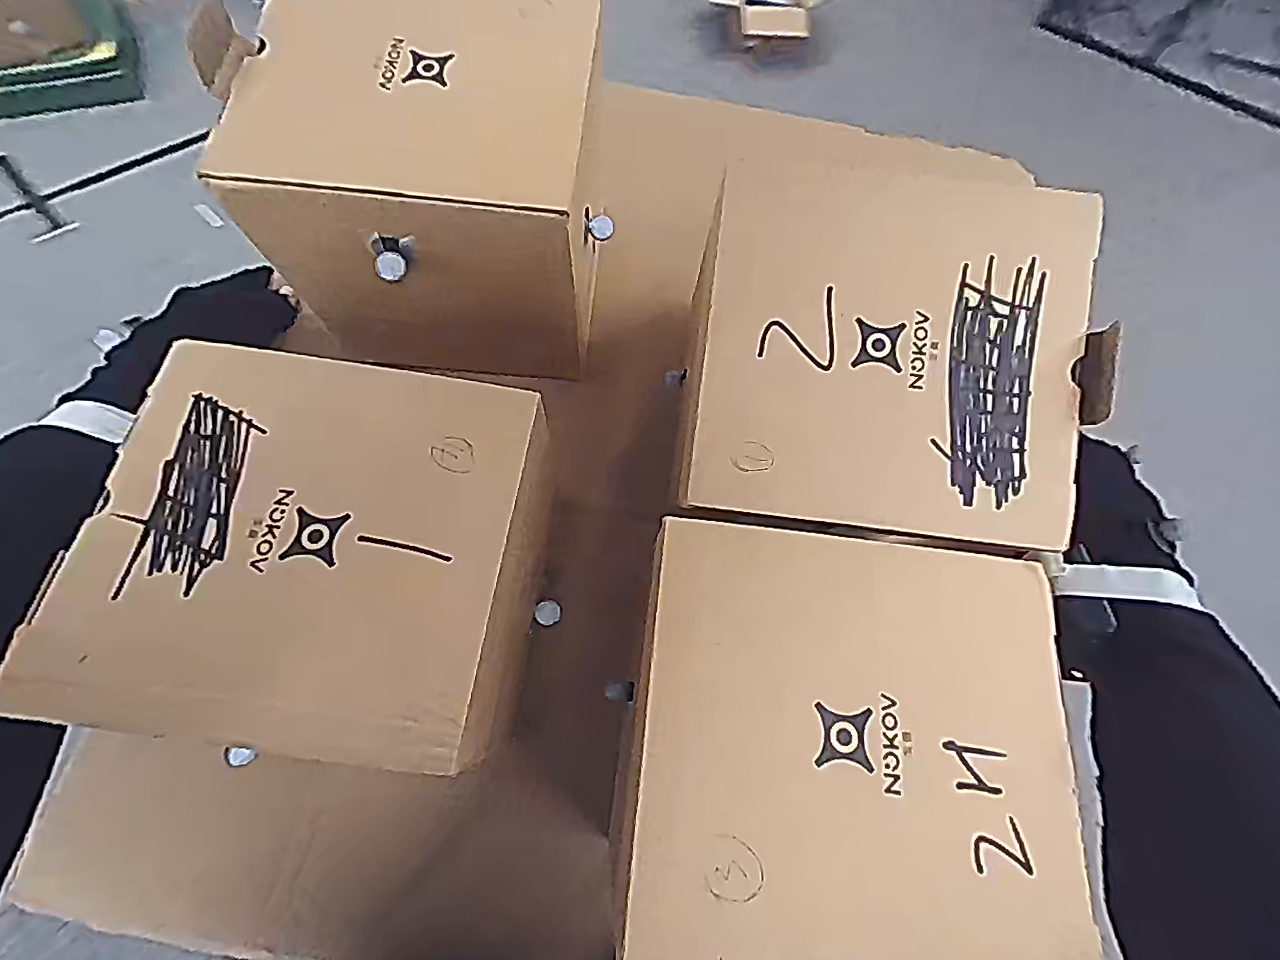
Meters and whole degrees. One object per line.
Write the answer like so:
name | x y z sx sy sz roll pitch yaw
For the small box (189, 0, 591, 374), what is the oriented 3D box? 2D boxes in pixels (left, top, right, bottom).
small box | -0.127 -0.184 0.358 0.179 0.176 0.168 4 73 -1
